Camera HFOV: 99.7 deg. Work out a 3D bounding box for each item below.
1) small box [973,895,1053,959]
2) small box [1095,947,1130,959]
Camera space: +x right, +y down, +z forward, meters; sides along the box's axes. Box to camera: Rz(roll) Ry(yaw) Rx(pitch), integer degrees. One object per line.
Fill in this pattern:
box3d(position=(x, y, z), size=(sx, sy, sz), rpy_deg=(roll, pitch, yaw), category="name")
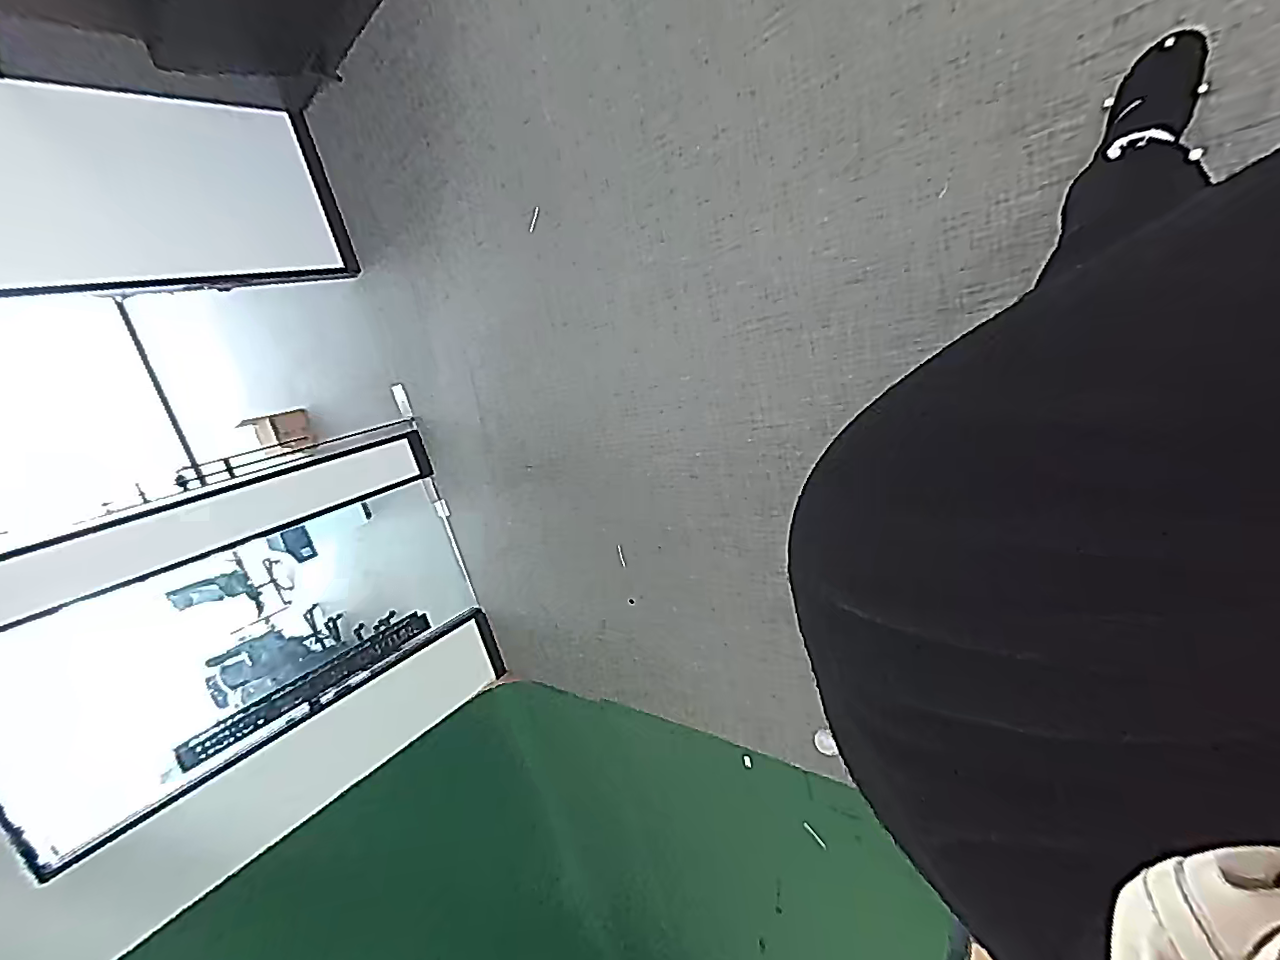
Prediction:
box3d(position=(1.031, 1.299, 1.493), size=(0.168, 0.176, 0.179), rpy_deg=(7, 113, 39), category="small box")
box3d(position=(1.223, 1.324, 1.332), size=(0.168, 0.176, 0.179), rpy_deg=(8, 115, 40), category="small box")
